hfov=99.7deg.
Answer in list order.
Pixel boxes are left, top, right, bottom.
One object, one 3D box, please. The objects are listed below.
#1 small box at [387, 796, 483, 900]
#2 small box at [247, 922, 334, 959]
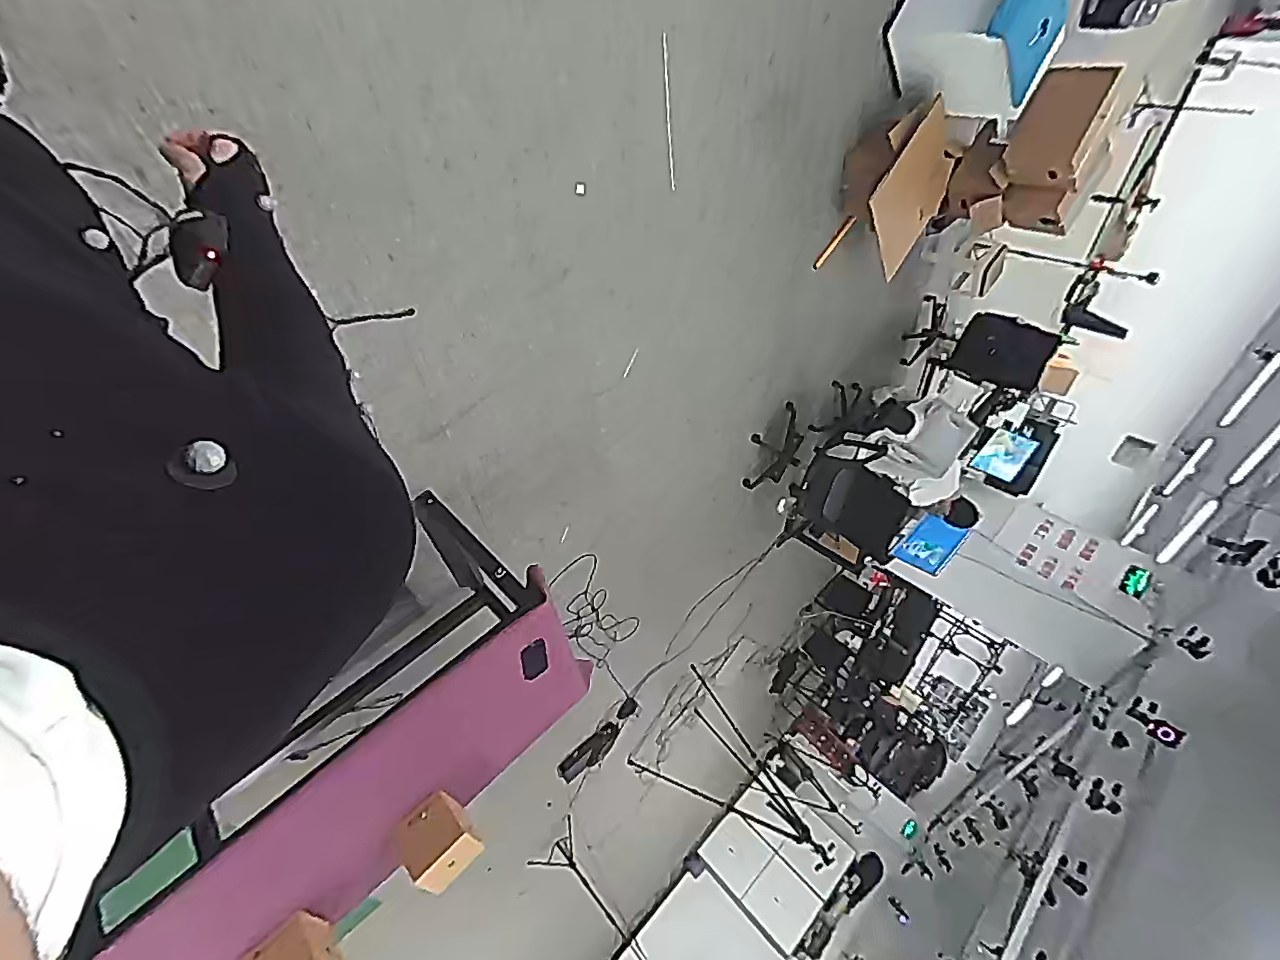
[{"bbox_3d":[-0.588,1.051,1.553,0.168,0.176,0.179,-39,141,-27],"label":"small box"},{"bbox_3d":[-0.881,1.260,1.353,0.168,0.176,0.179,-37,141,-29],"label":"small box"}]
